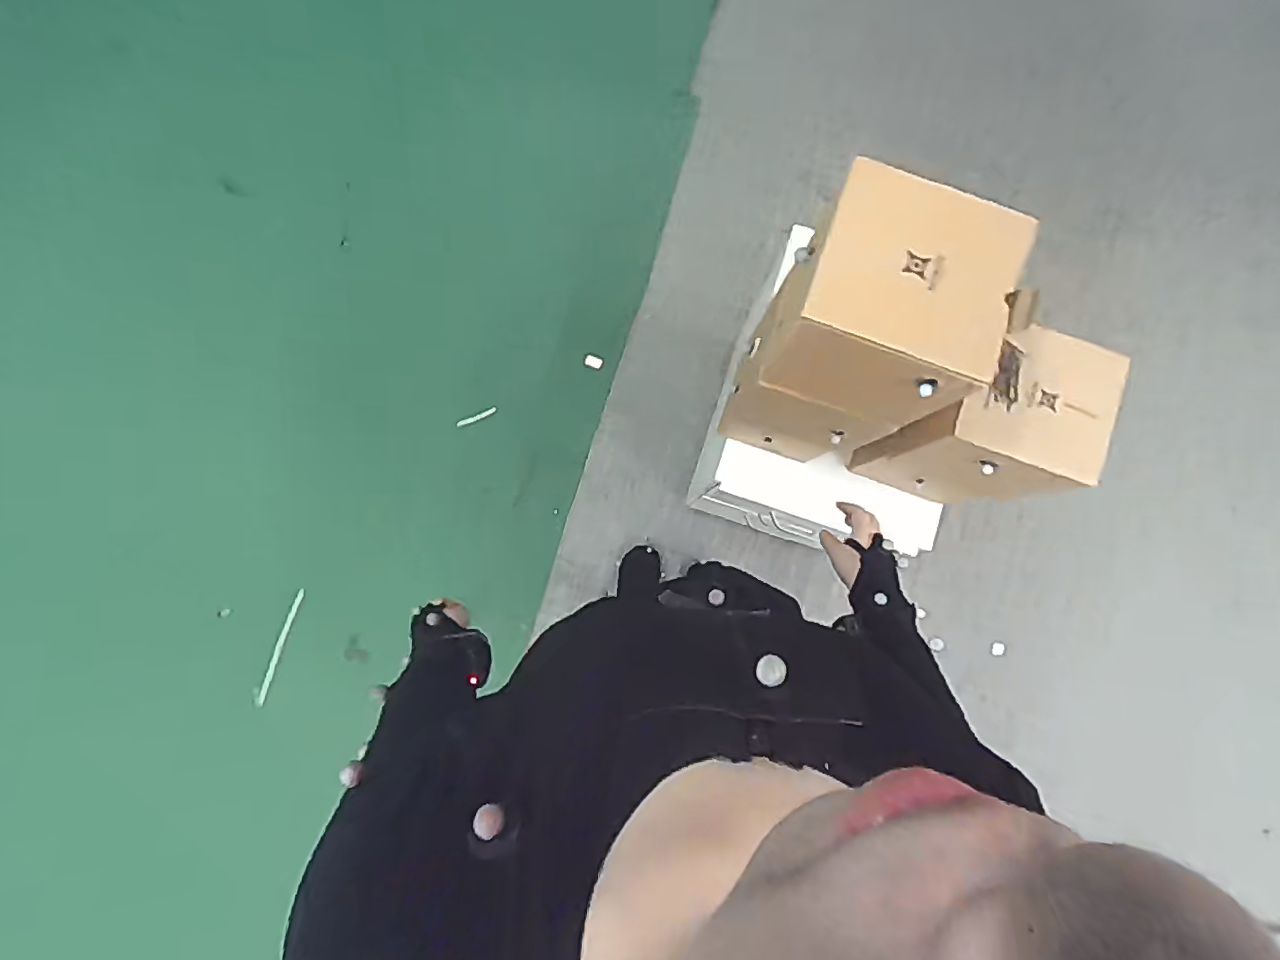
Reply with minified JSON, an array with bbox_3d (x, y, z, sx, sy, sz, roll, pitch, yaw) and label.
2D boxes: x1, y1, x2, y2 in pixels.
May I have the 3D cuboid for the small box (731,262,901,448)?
[{"bbox_3d":[0.238,-0.151,0.714,0.179,0.176,0.168,18,82,1],"label":"small box"}]

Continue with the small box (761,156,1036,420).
[{"bbox_3d":[0.243,-0.176,0.552,0.179,0.176,0.168,21,82,0],"label":"small box"}]

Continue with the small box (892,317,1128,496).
[{"bbox_3d":[0.464,-0.085,0.707,0.179,0.176,0.168,21,83,2],"label":"small box"}]

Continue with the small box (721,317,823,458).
[{"bbox_3d":[0.240,-0.146,0.876,0.168,0.176,0.179,20,83,0],"label":"small box"}]
